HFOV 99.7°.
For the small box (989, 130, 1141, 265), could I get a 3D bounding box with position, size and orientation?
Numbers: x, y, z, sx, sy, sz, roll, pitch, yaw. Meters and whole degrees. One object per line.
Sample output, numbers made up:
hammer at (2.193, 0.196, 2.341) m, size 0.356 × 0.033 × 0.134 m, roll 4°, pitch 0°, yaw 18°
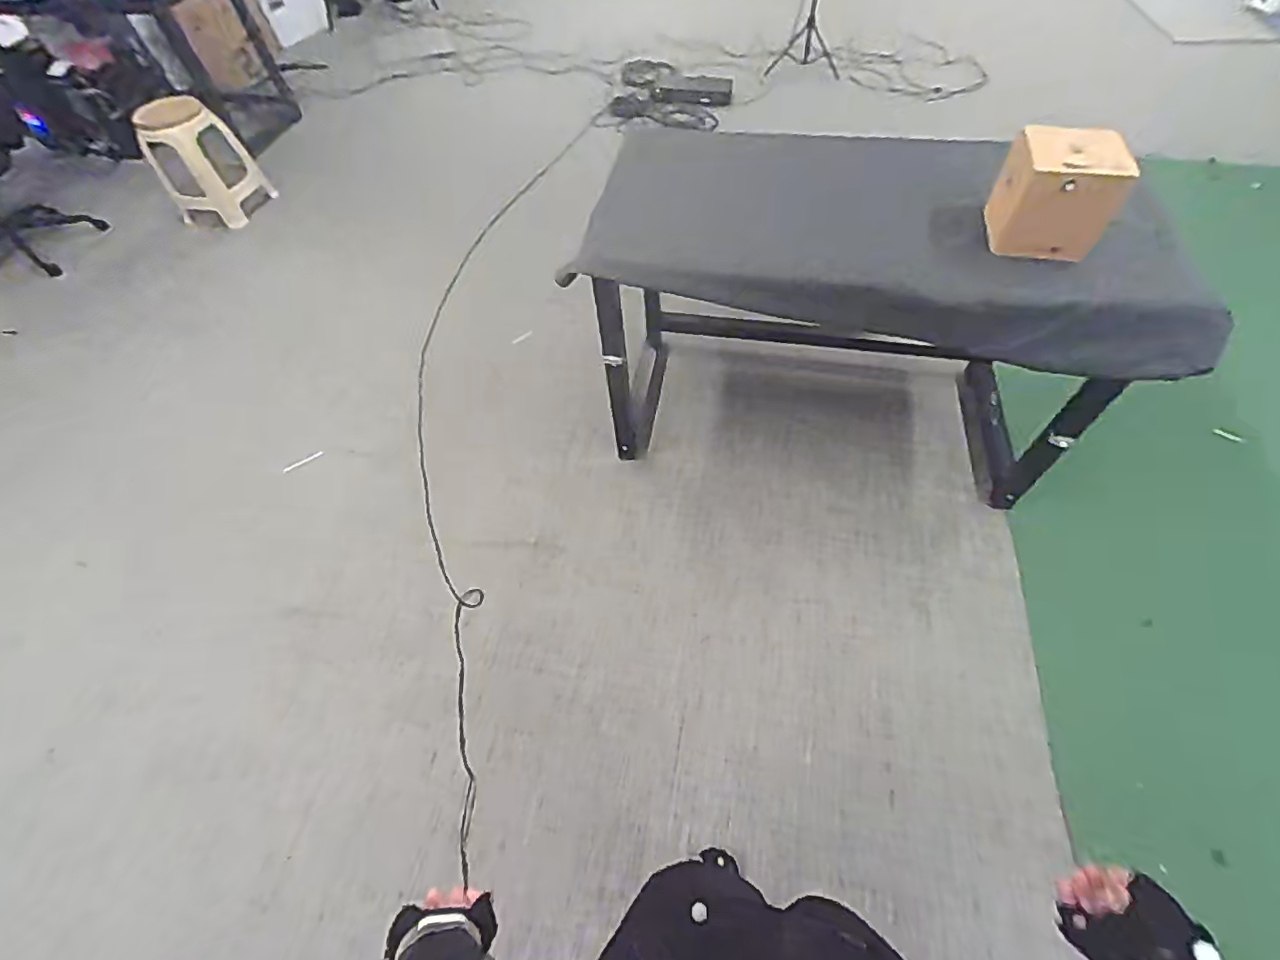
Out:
small box at (0.808, -0.549, 1.053) m, size 0.168 × 0.176 × 0.179 m, roll 10°, pitch 56°, yaw 12°
